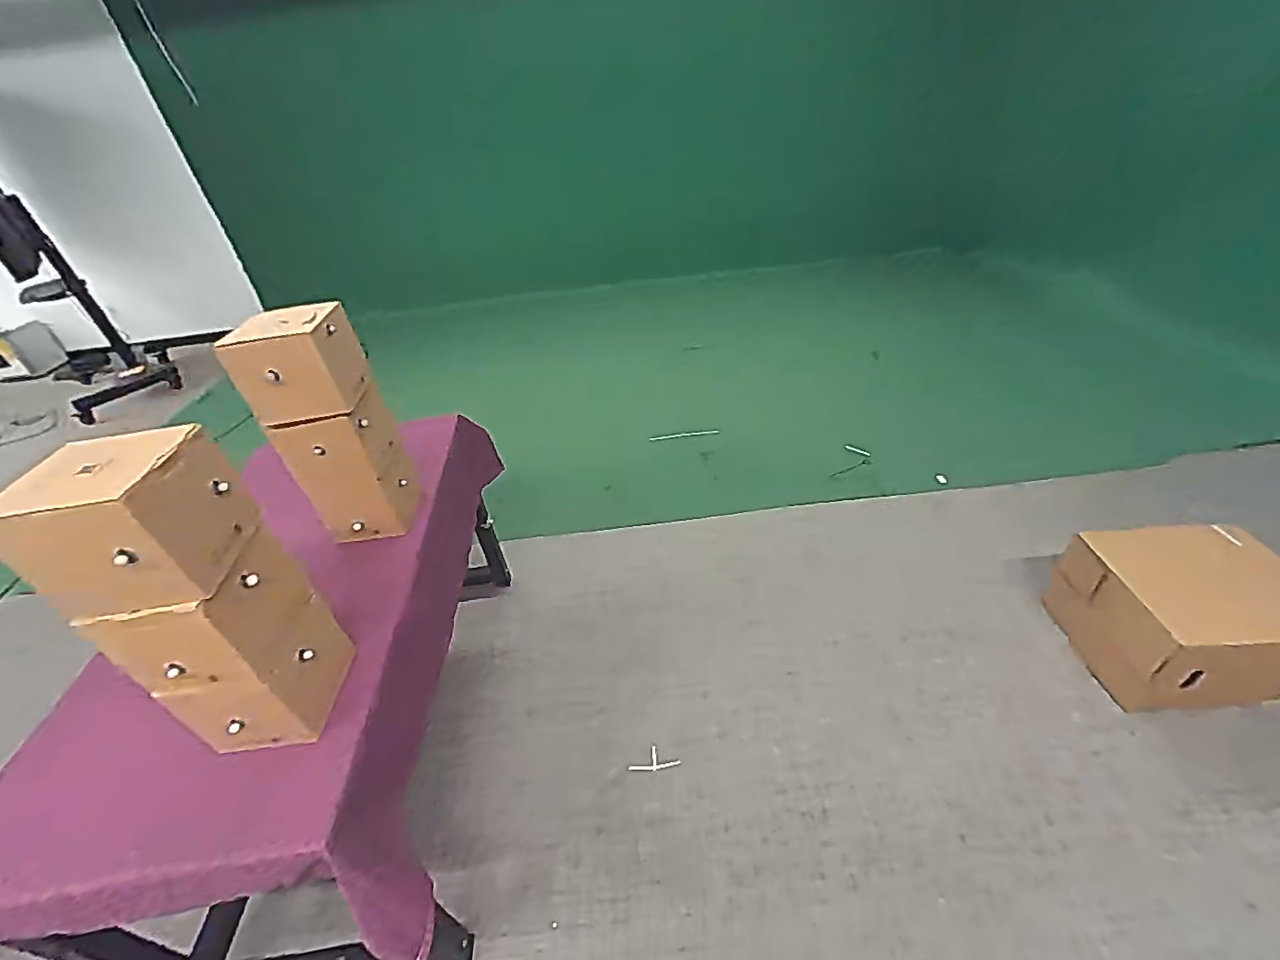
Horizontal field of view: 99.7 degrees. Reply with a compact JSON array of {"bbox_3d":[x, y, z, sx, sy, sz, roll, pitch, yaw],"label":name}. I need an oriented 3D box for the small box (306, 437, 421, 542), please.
[{"bbox_3d":[-0.637,0.022,1.274,0.168,0.176,0.179,-8,38,1],"label":"small box"}]

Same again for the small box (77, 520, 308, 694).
[{"bbox_3d":[-0.626,0.184,0.792,0.168,0.176,0.179,-8,38,1],"label":"small box"}]

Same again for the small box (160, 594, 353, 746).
[{"bbox_3d":[-0.606,0.316,0.888,0.168,0.176,0.179,-7,37,1],"label":"small box"}]

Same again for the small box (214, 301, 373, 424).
[{"bbox_3d":[-0.662,-0.227,1.060,0.179,0.176,0.168,-11,38,0],"label":"small box"}]

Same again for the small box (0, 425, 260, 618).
[{"bbox_3d":[-0.643,0.054,0.695,0.179,0.176,0.168,-9,37,0],"label":"small box"}]
